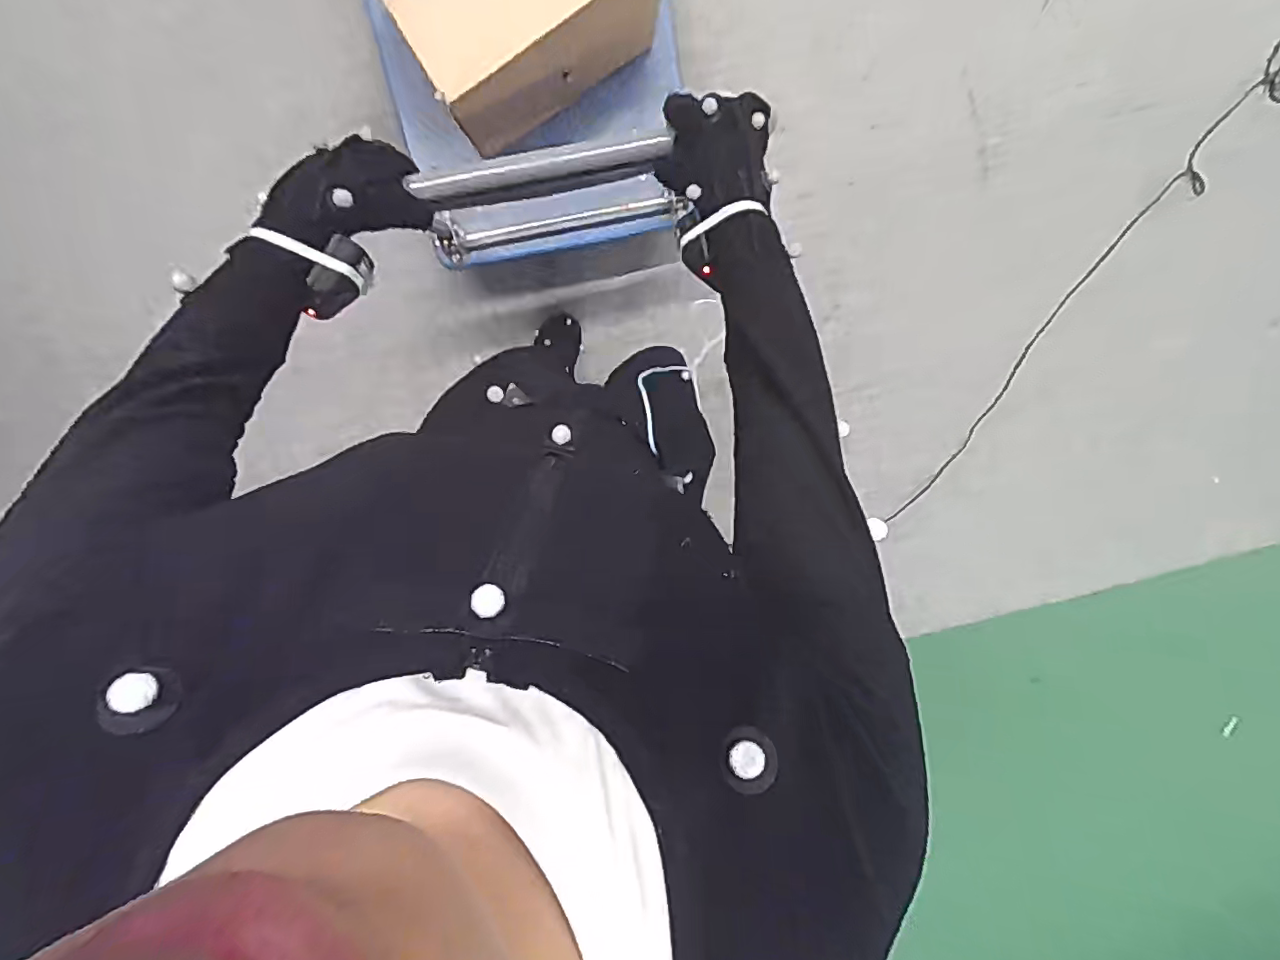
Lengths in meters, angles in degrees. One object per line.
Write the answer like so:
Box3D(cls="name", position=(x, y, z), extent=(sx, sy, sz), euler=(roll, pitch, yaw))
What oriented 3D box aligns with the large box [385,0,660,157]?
Box3D(cls="large box", position=(-0.208, -0.848, 0.918), extent=(0.408, 0.320, 0.320), euler=(-33, 105, 7))
